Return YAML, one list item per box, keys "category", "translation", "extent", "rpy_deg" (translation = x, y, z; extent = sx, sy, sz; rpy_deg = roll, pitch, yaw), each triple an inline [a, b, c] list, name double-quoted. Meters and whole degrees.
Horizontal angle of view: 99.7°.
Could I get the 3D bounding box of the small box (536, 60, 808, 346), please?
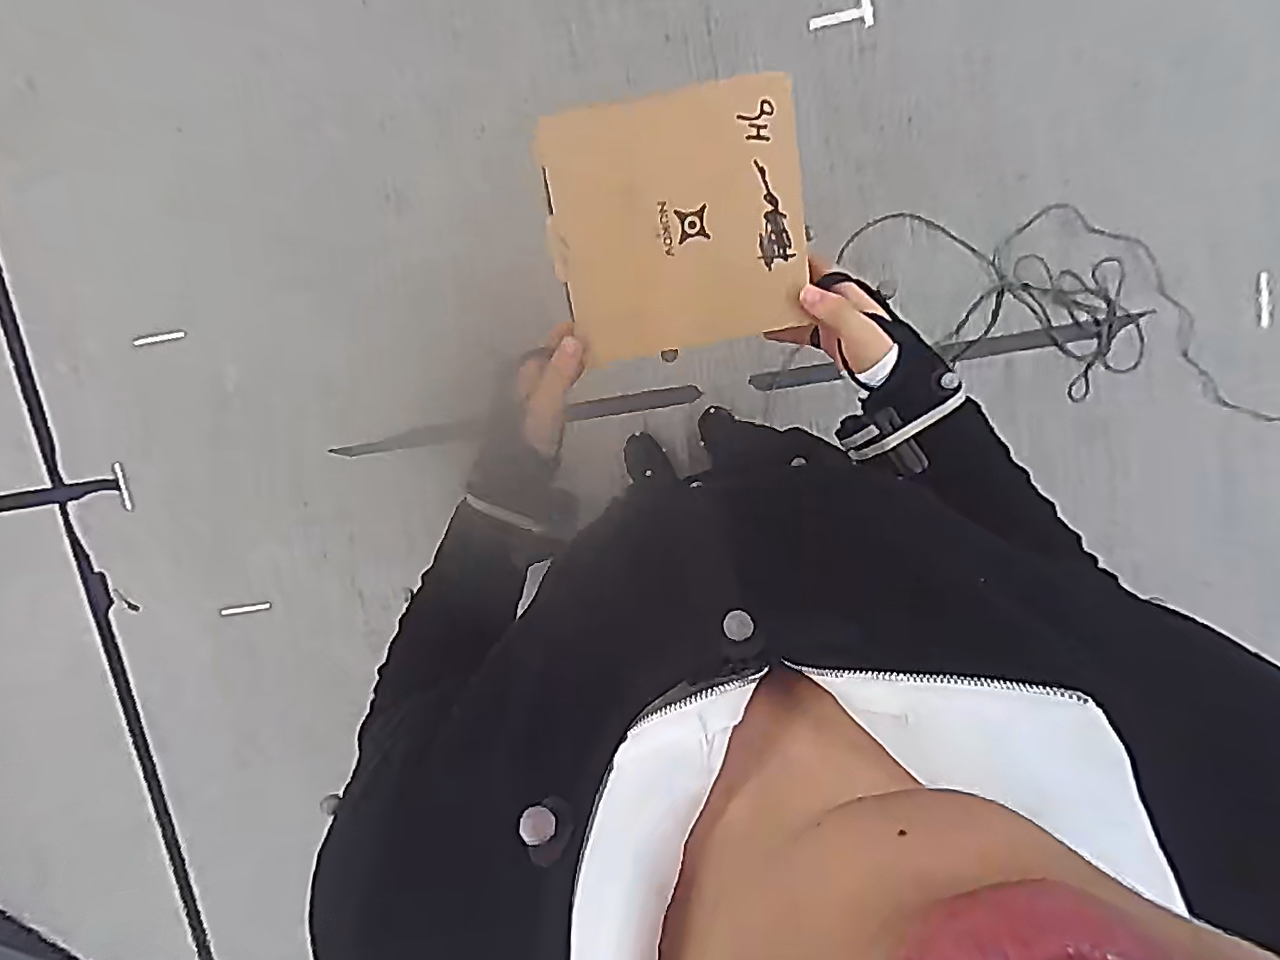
- category: "small box"
  translation: [0.026, -0.208, 0.458]
  extent: [0.179, 0.176, 0.168]
  rpy_deg: [-9, 105, 1]
